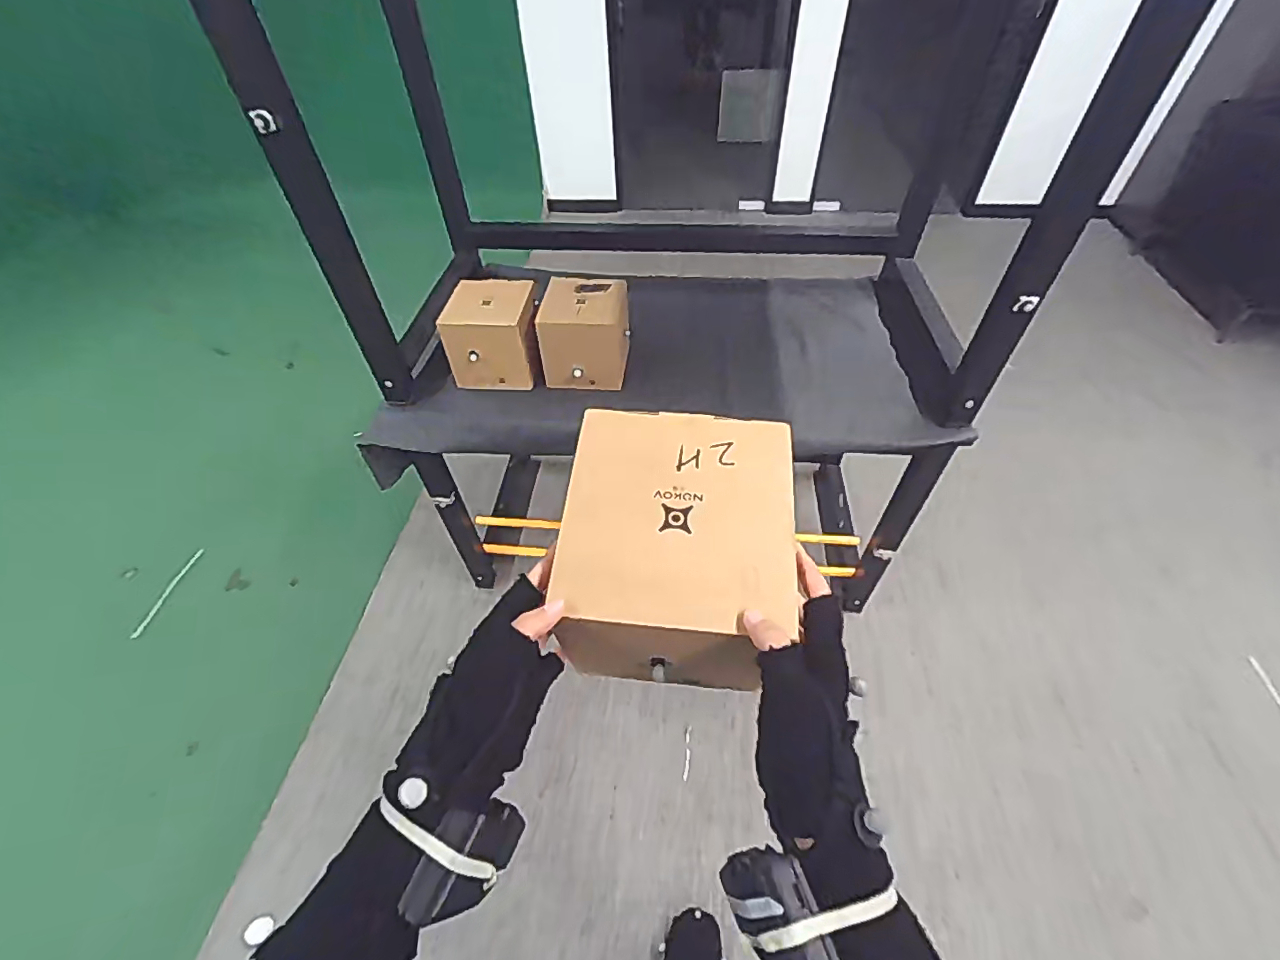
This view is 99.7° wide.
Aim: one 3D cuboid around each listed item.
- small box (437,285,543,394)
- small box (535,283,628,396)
[{"bbox_3d":[-0.314,-0.303,1.175,0.168,0.176,0.179,2,48,3],"label":"small box"},{"bbox_3d":[-0.117,-0.304,1.169,0.168,0.176,0.179,2,49,5],"label":"small box"}]
